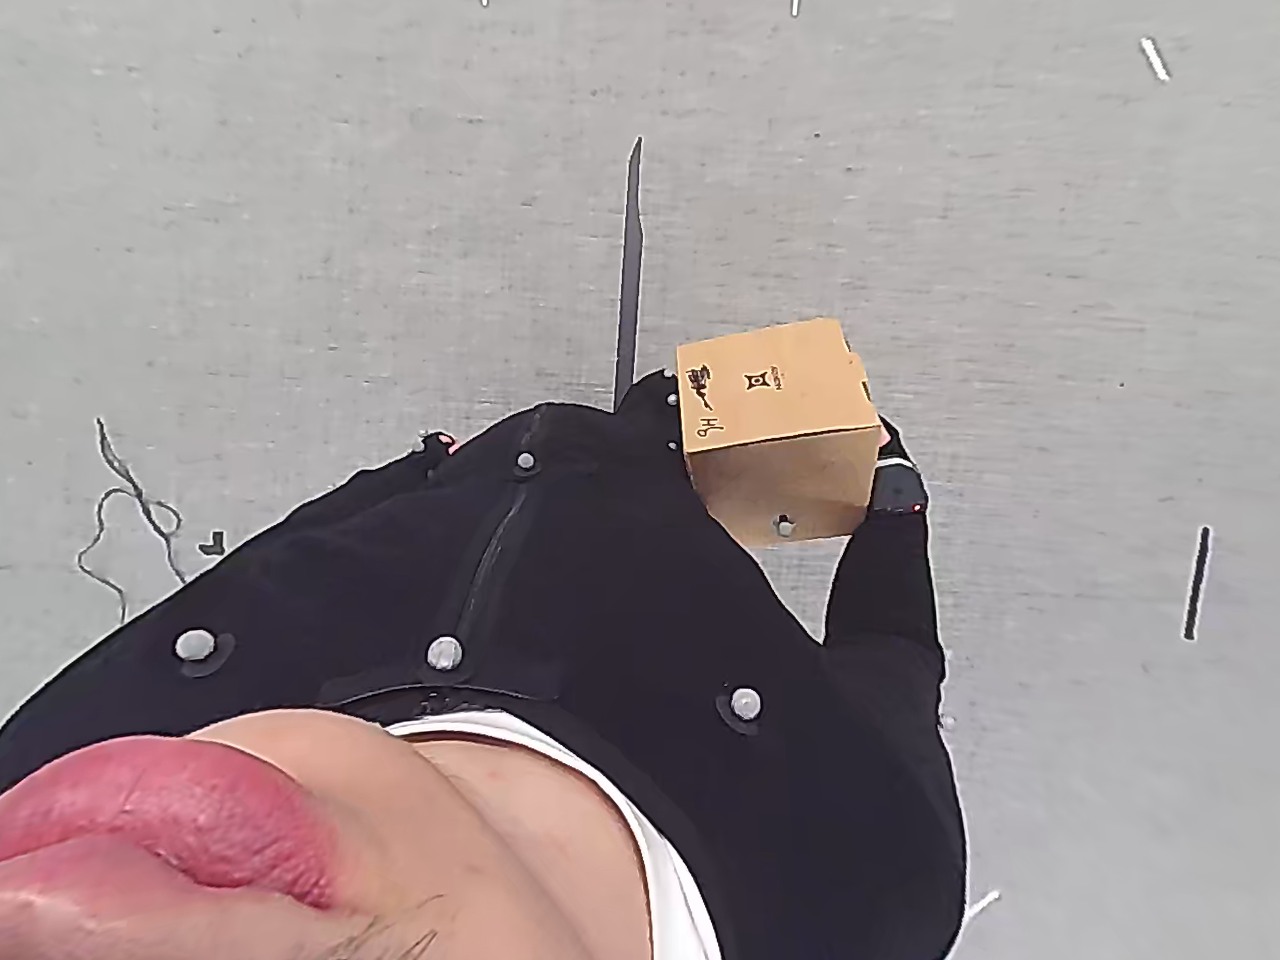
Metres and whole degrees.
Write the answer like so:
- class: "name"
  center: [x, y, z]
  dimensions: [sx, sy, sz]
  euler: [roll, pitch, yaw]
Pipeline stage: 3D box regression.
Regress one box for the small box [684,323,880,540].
- class: "small box"
  center: [0.147, -0.049, 0.611]
  dimensions: [0.179, 0.168, 0.176]
  euler: [-7, 138, 8]
